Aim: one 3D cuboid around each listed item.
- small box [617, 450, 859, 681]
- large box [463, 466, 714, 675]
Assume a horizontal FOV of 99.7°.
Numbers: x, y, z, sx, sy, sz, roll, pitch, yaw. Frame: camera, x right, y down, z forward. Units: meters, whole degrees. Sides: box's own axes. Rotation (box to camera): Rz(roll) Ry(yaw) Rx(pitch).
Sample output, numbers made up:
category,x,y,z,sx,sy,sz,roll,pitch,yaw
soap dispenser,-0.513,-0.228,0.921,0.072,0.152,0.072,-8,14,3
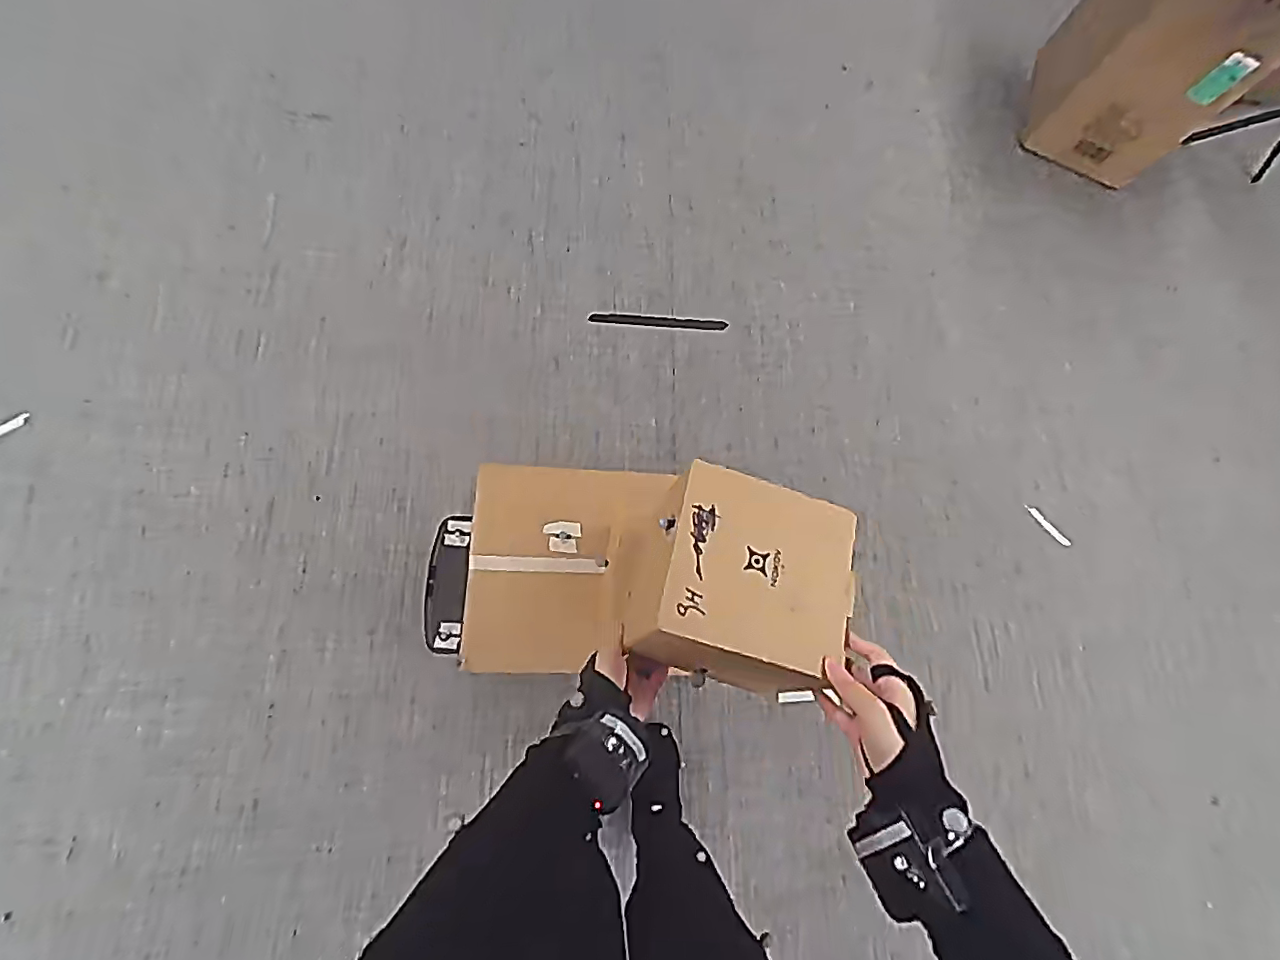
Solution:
category,x,y,z,sx,sy,sz,roll,pitch,yaw
small box,0.093,0.099,0.550,0.179,0.176,0.168,19,62,-8
large box,-0.071,0.170,0.969,0.408,0.320,0.320,3,74,-7
